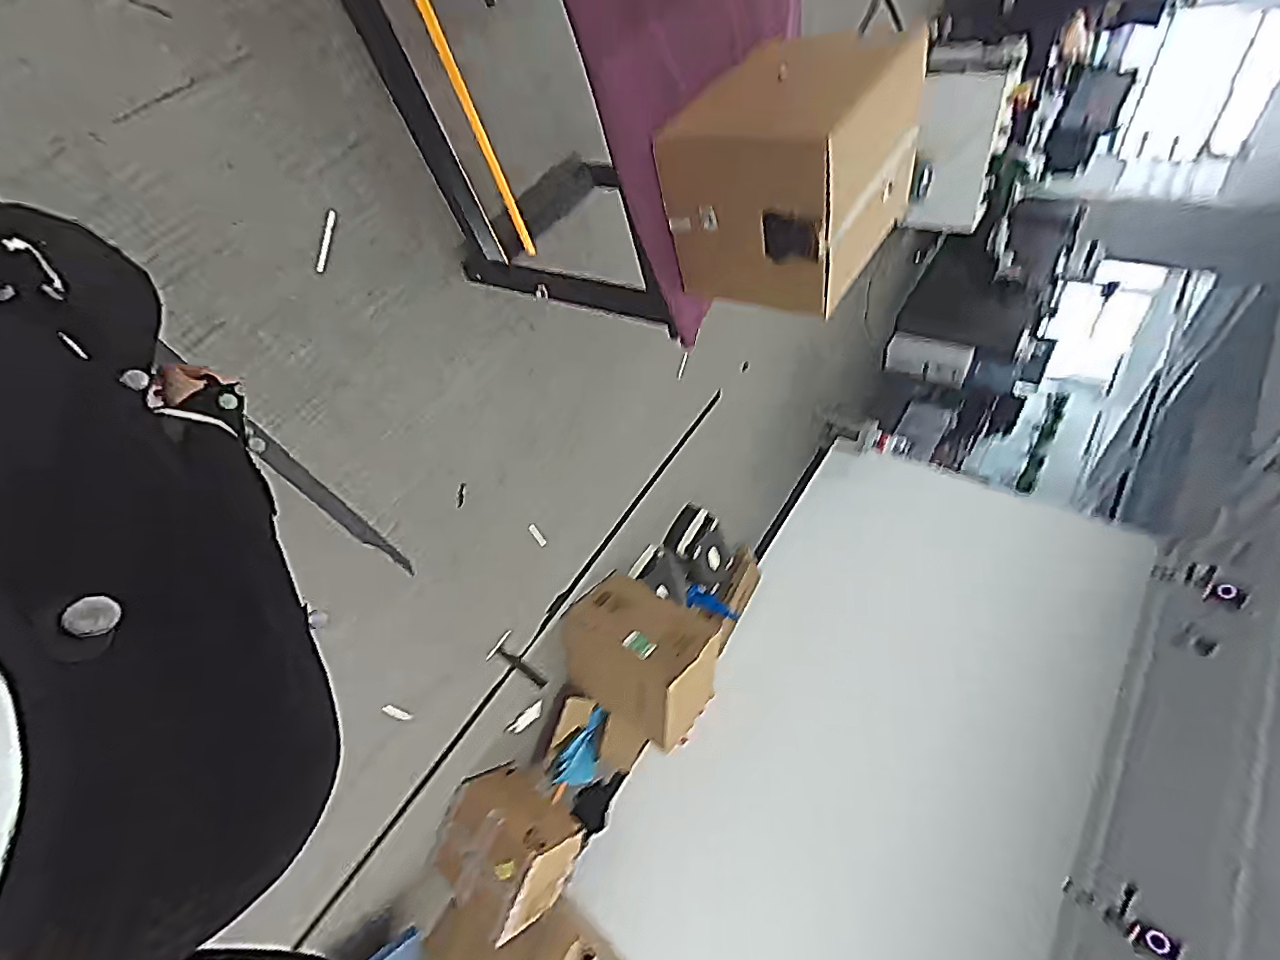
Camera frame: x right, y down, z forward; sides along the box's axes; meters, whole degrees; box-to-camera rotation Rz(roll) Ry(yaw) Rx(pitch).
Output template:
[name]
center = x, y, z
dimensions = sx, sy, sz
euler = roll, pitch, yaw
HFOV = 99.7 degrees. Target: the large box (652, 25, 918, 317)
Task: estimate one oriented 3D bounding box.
[large box]
center = 0.277, -0.576, 1.021
dimensions = 0.408, 0.320, 0.320
euler = -53, 148, -23
